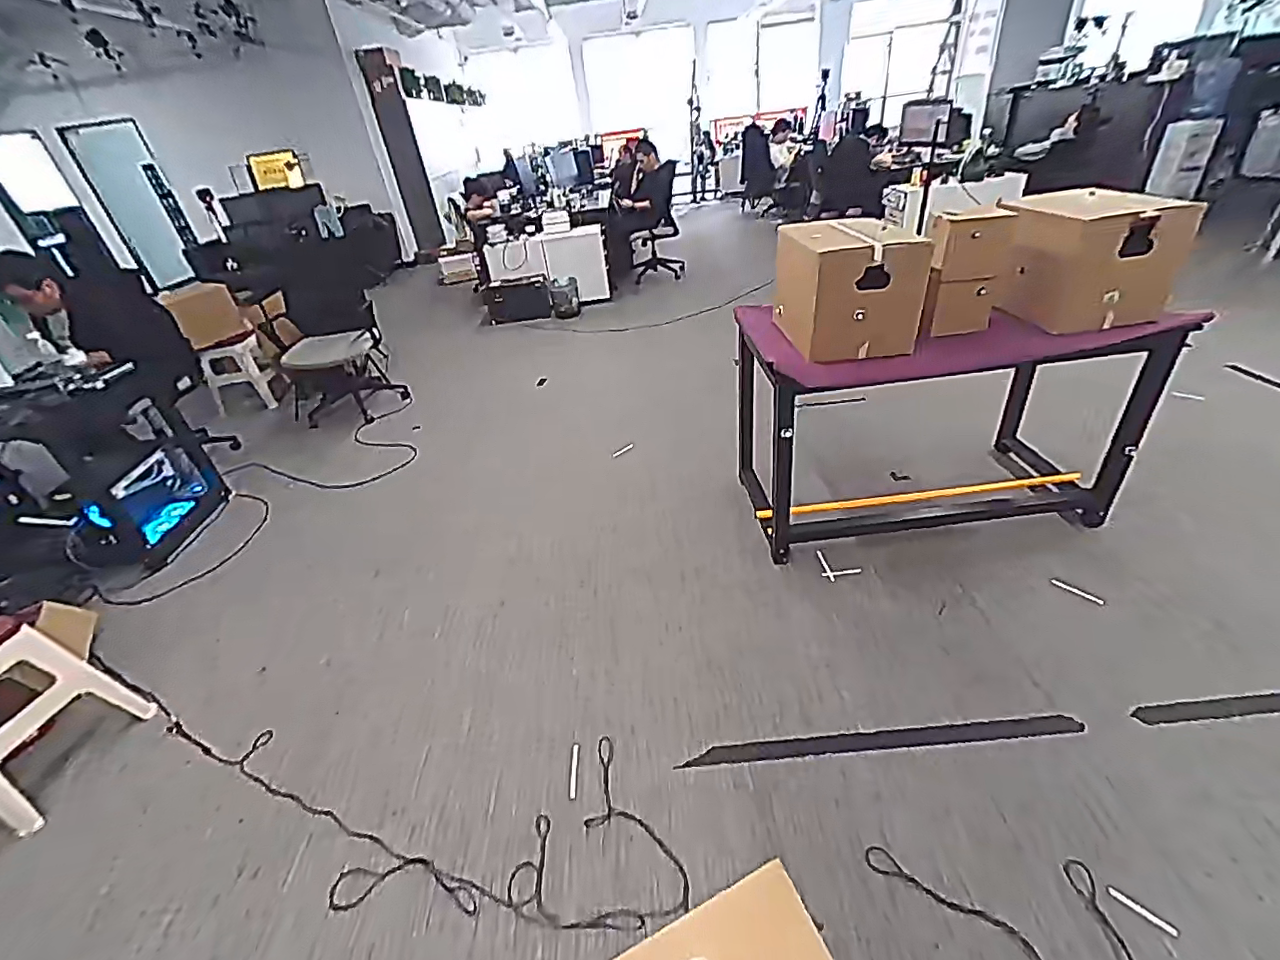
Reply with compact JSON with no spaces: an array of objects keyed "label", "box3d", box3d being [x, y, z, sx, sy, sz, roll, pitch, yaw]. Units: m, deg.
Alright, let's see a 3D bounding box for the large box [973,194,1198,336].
[{"label":"large box","box3d":[1.303,-0.662,1.643,0.320,0.320,0.408,-7,32,0]}]
